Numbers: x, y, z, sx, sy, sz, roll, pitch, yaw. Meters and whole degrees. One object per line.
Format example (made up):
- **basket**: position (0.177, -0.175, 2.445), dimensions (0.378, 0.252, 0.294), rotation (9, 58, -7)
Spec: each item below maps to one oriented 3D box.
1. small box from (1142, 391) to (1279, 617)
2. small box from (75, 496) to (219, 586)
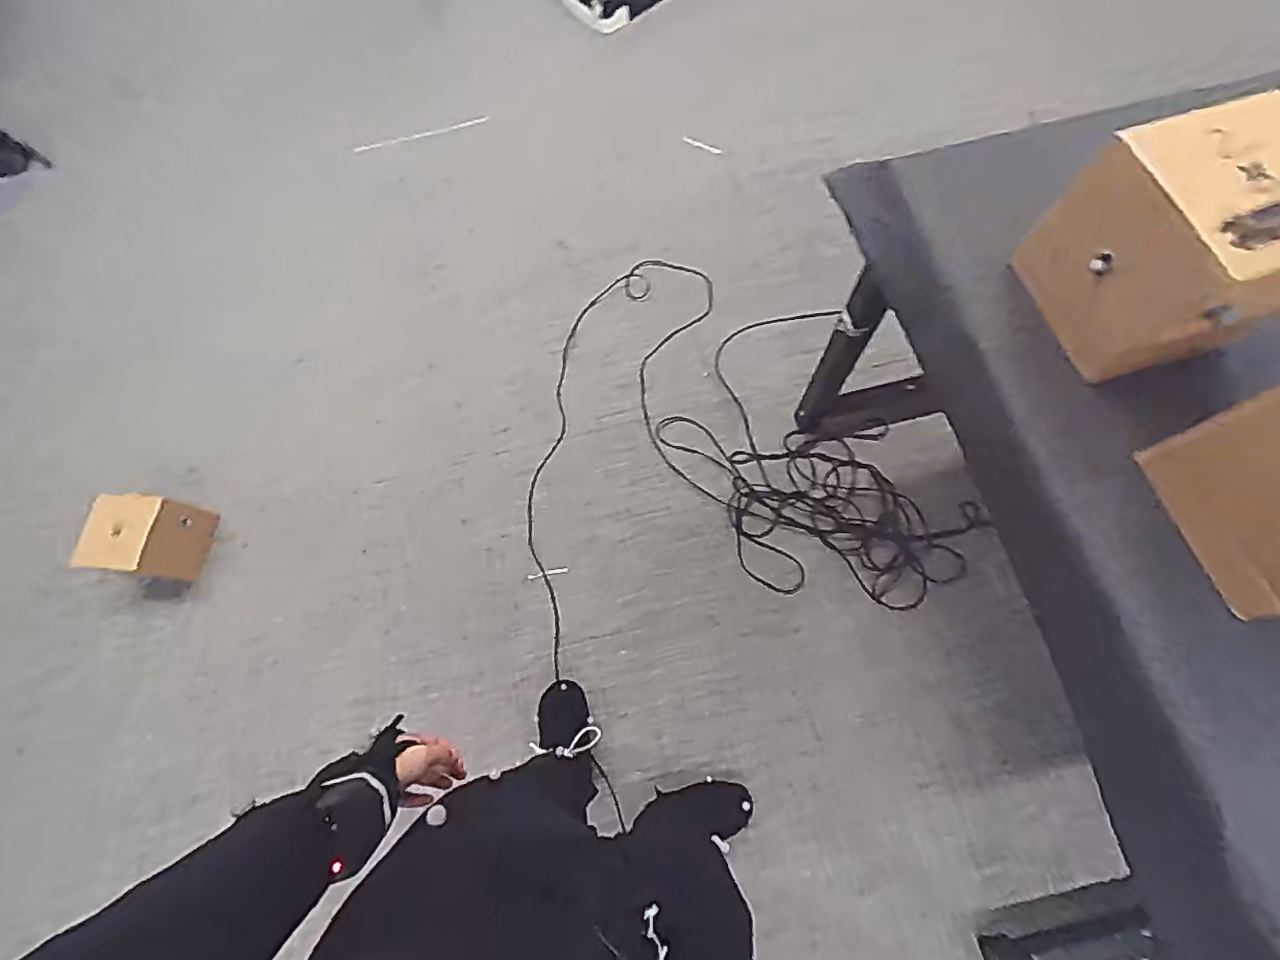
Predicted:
- **small box**: position (0.607, 0.005, 0.464), dimensions (0.168, 0.176, 0.179), rotation (-17, 71, -3)
- **small box**: position (-1.167, 0.150, 1.299), dimensions (0.168, 0.176, 0.179), rotation (3, 72, 5)
